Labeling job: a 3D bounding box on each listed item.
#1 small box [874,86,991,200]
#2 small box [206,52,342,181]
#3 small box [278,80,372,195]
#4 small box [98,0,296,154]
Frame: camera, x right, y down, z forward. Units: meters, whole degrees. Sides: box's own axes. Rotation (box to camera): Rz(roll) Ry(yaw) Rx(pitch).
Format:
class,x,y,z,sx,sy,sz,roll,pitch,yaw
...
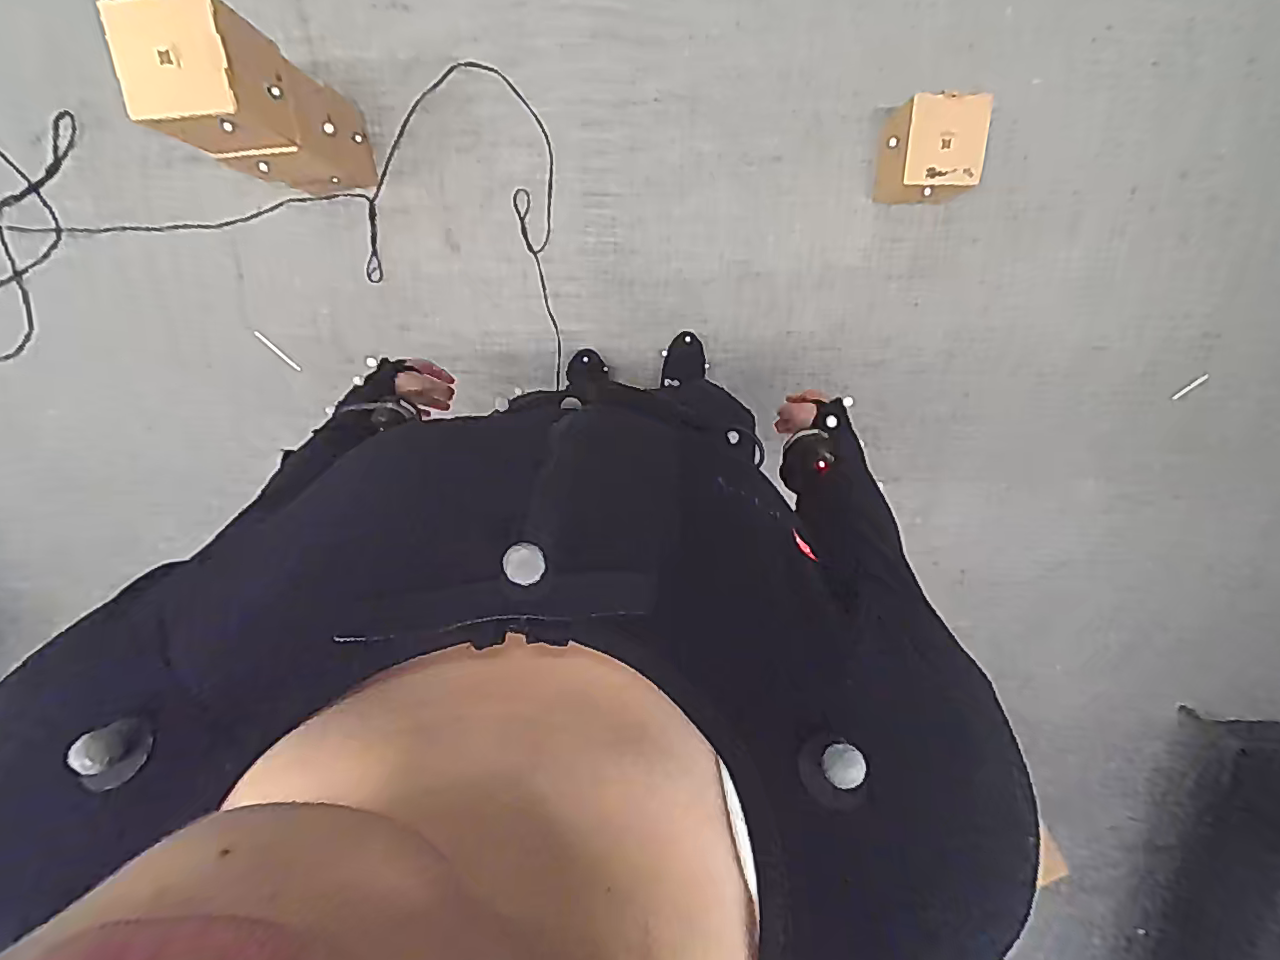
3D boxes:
class,x,y,z,sx,sy,sz,roll,pitch,yaw
small box,0.645,-0.747,1.213,0.168,0.176,0.179,1,104,1
small box,-0.735,-0.710,1.075,0.179,0.176,0.168,-4,105,1
small box,-0.738,-0.769,1.229,0.179,0.176,0.168,-8,104,3
small box,-0.734,-0.675,0.917,0.179,0.176,0.168,-5,105,1
